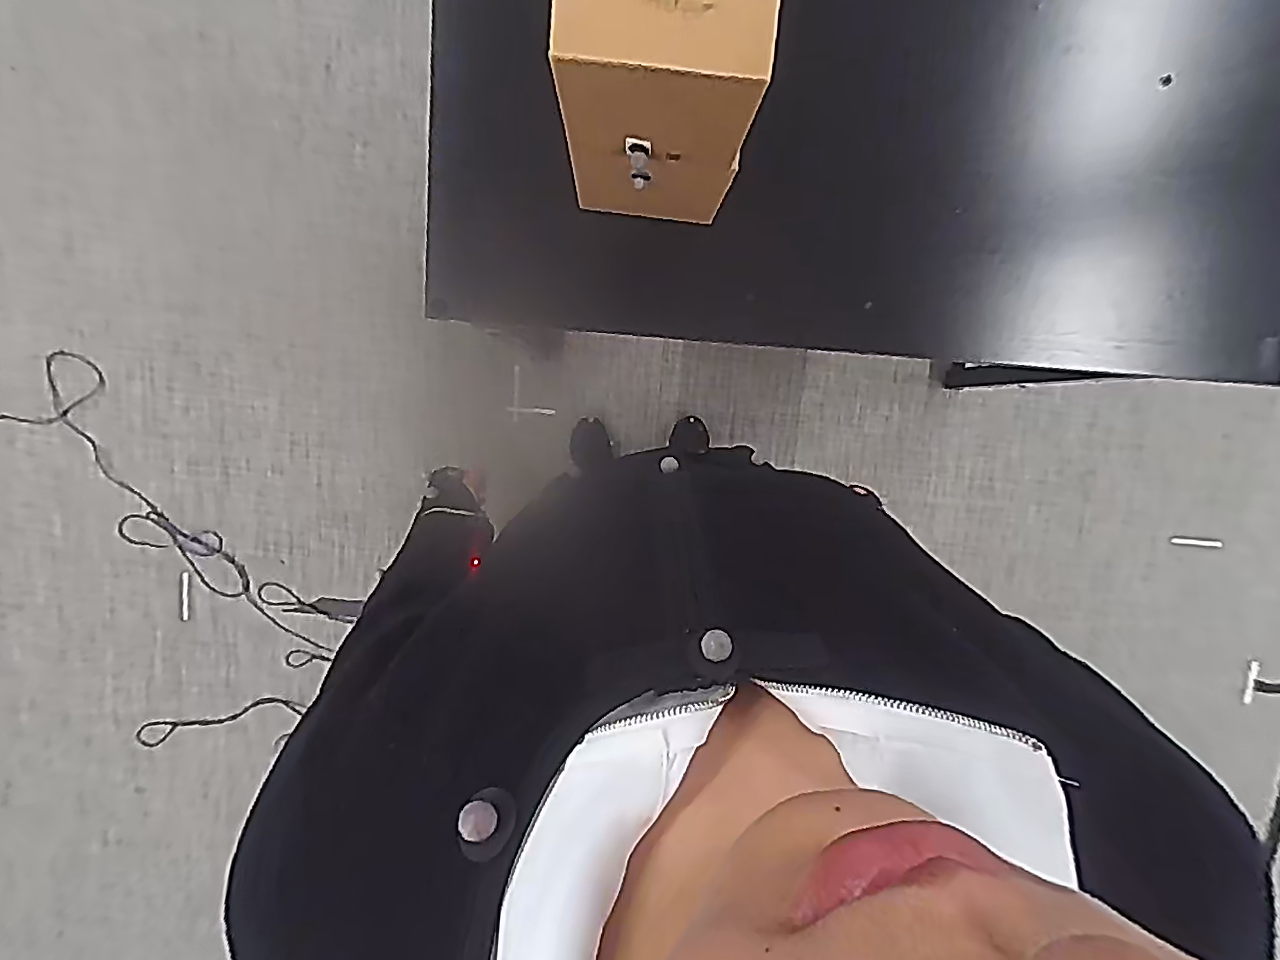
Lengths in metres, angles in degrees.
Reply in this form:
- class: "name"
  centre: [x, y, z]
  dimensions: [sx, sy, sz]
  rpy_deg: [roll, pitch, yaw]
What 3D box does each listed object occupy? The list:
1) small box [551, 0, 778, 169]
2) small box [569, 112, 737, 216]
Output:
- class: "small box"
  centre: [0.021, -0.402, 0.464]
  dimensions: [0.168, 0.176, 0.179]
  rpy_deg: [4, 98, -1]
- class: "small box"
  centre: [0.018, -0.425, 0.625]
  dimensions: [0.179, 0.176, 0.168]
  rpy_deg: [5, 97, -4]
